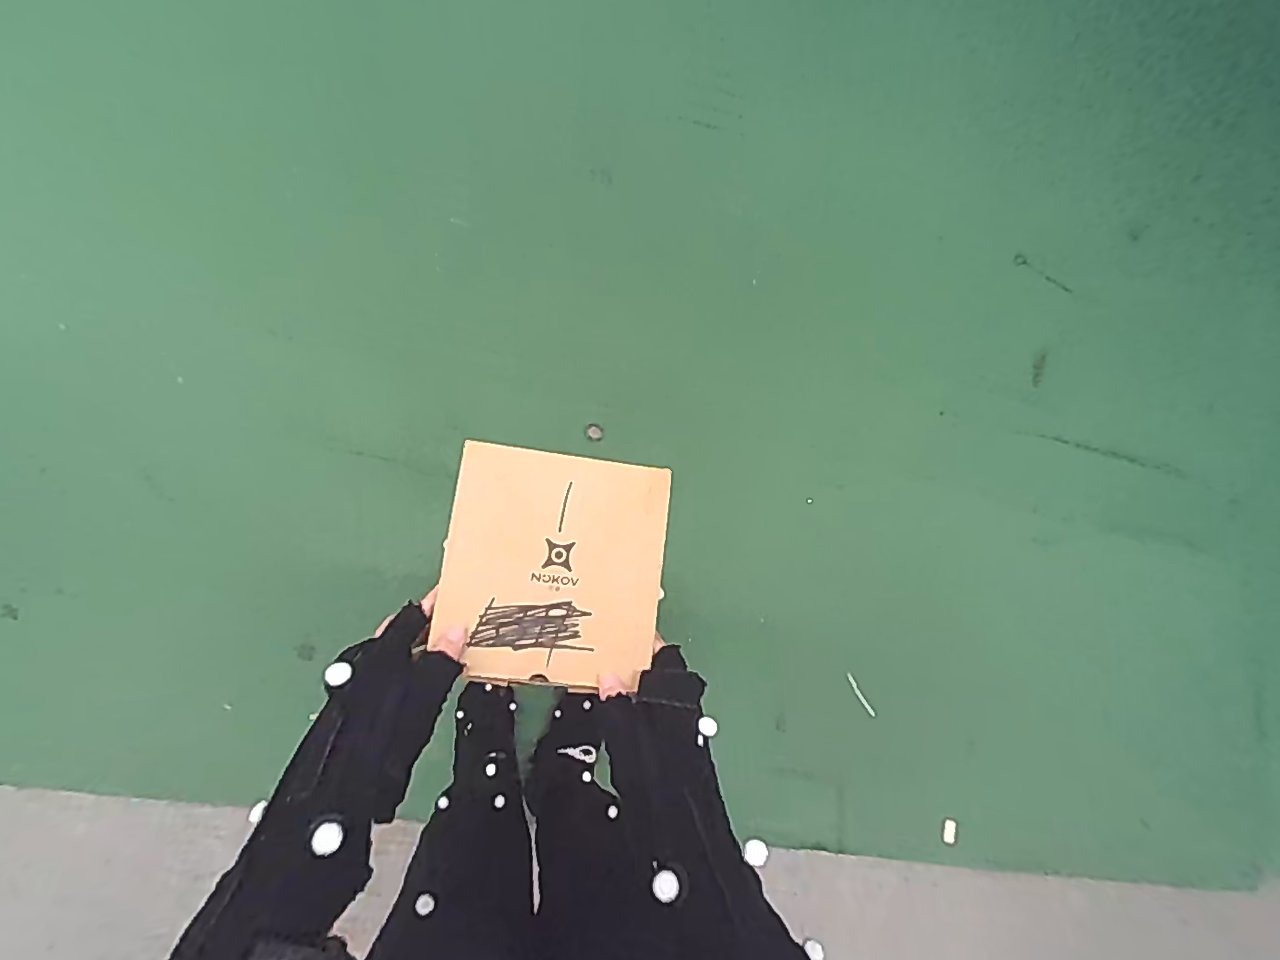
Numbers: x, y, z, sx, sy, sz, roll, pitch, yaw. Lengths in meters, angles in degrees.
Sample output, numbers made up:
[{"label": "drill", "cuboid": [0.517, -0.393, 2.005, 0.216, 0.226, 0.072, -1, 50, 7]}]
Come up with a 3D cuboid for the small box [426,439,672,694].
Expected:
[{"label": "small box", "cuboid": [-0.075, 0.077, 0.484, 0.168, 0.176, 0.179, 8, 79, -8]}]
